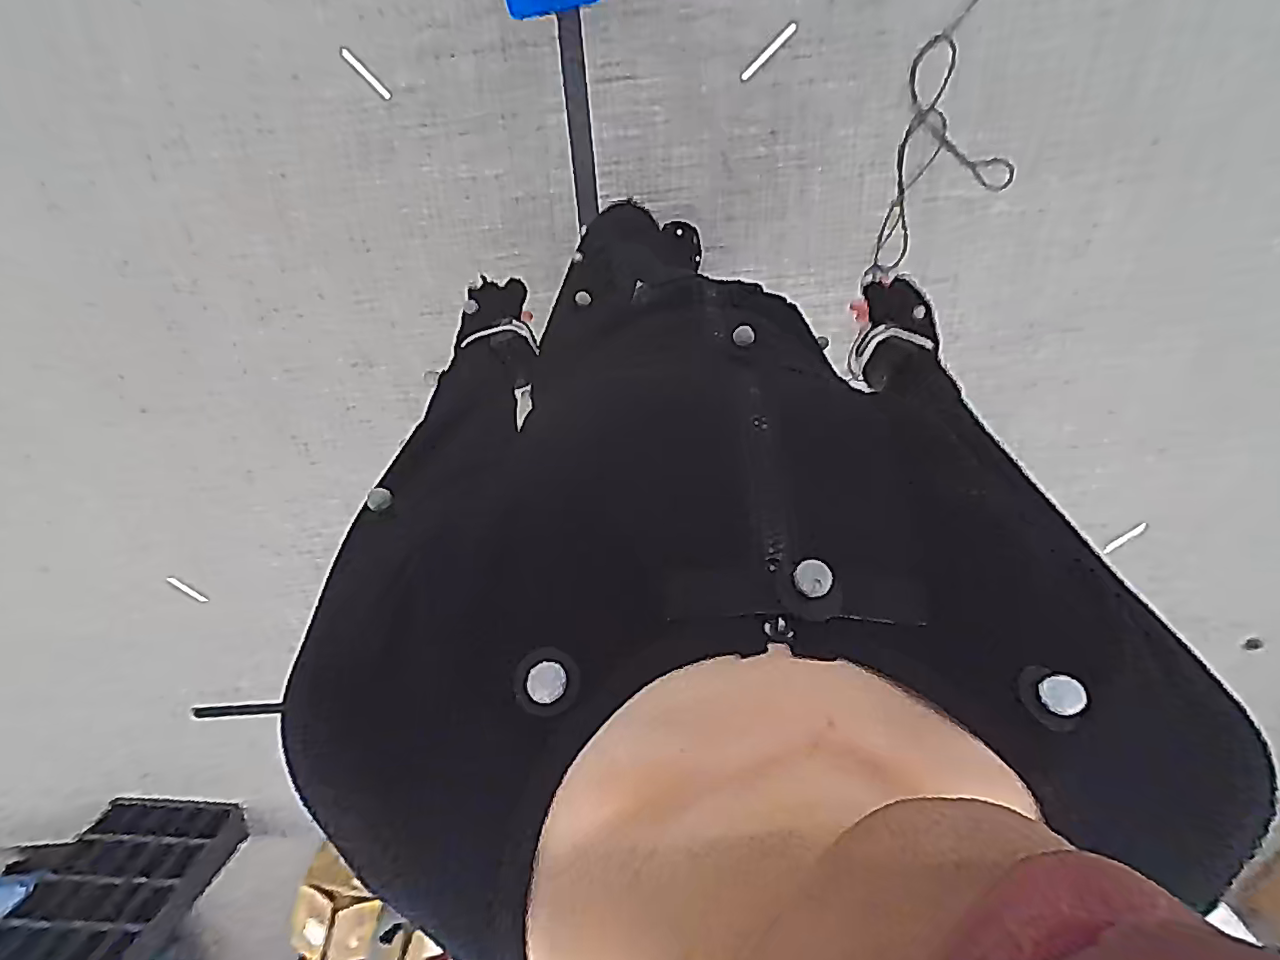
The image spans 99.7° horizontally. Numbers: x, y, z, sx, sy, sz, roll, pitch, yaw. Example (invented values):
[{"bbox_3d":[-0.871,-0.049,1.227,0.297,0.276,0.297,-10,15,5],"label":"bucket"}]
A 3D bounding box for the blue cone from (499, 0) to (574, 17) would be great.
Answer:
[{"bbox_3d":[-0.210,-0.983,0.920,0.192,0.380,0.193,-7,113,4],"label":"blue cone"}]
